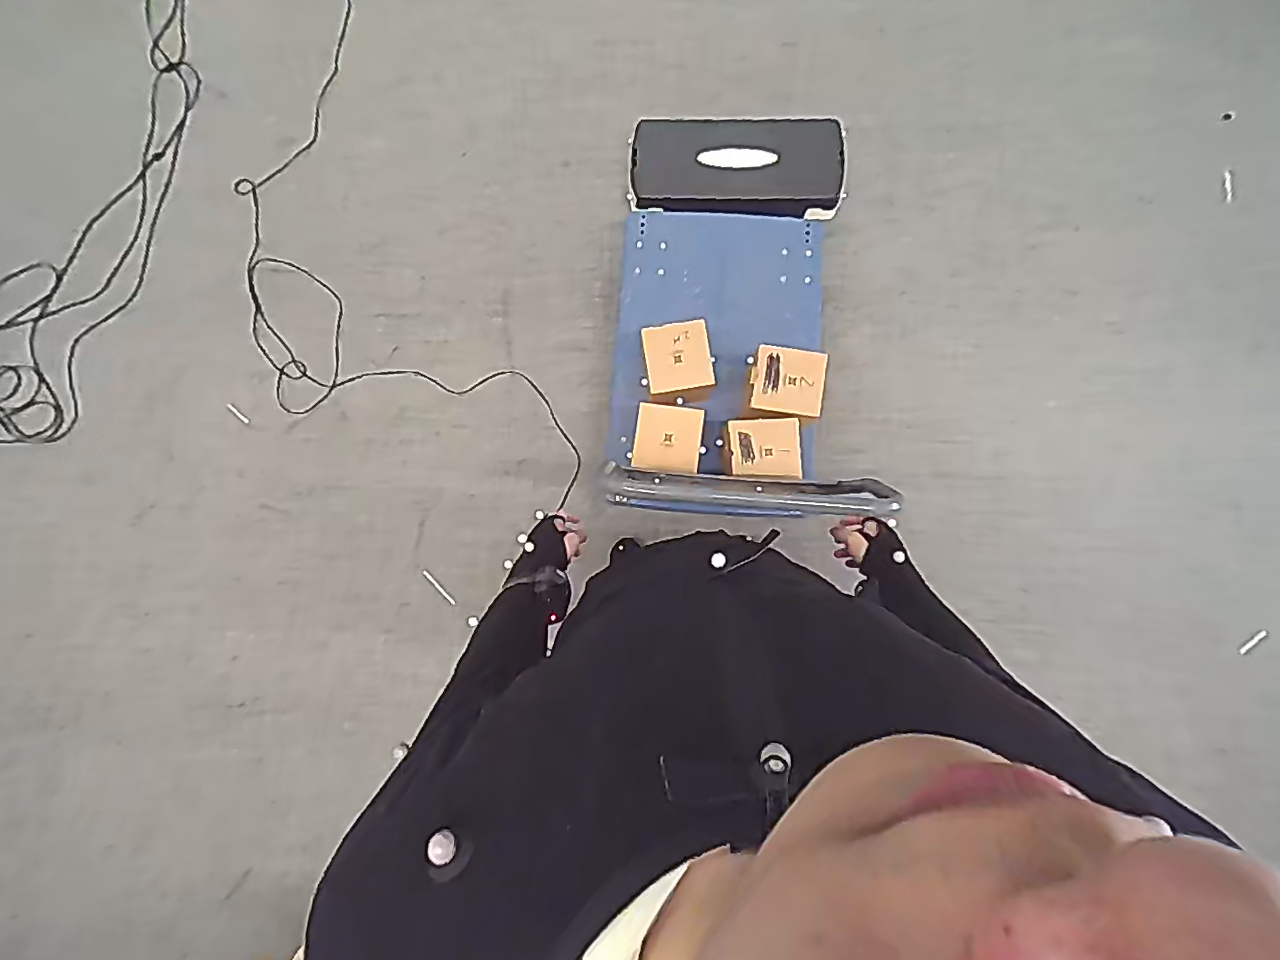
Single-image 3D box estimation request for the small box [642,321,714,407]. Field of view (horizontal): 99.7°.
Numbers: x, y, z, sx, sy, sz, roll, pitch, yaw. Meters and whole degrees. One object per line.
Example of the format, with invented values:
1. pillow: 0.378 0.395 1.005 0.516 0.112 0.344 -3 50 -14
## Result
1. small box: 0.098 -0.299 1.440 0.168 0.176 0.179 -8 84 0
